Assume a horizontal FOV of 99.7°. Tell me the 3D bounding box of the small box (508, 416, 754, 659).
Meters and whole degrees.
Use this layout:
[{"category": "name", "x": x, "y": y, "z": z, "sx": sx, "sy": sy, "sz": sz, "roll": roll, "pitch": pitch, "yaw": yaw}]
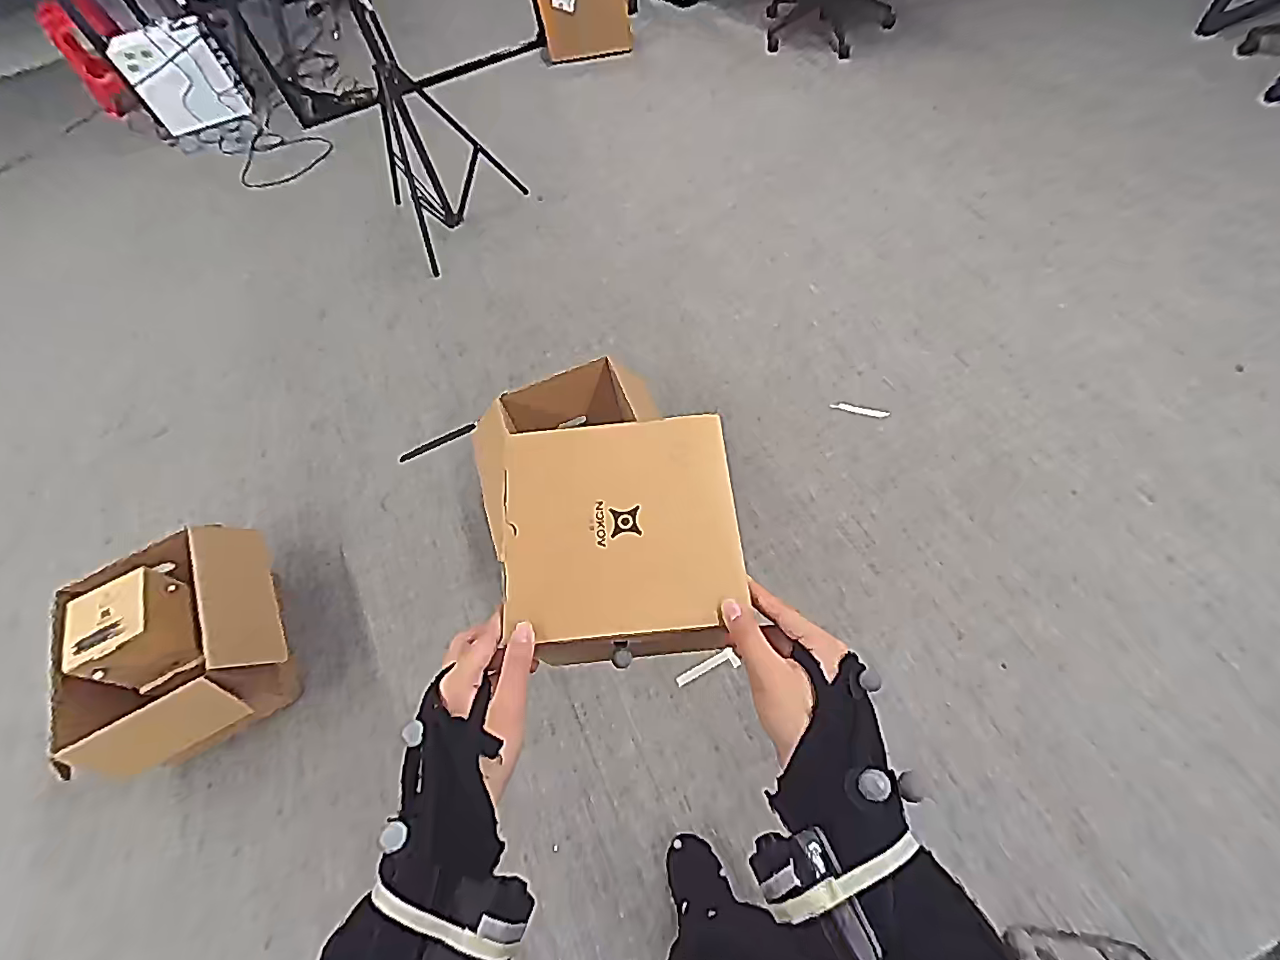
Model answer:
[{"category": "small box", "x": -0.010, "y": 0.061, "z": 0.481, "sx": 0.179, "sy": 0.176, "sz": 0.168, "roll": -6, "pitch": 66, "yaw": 1}]
